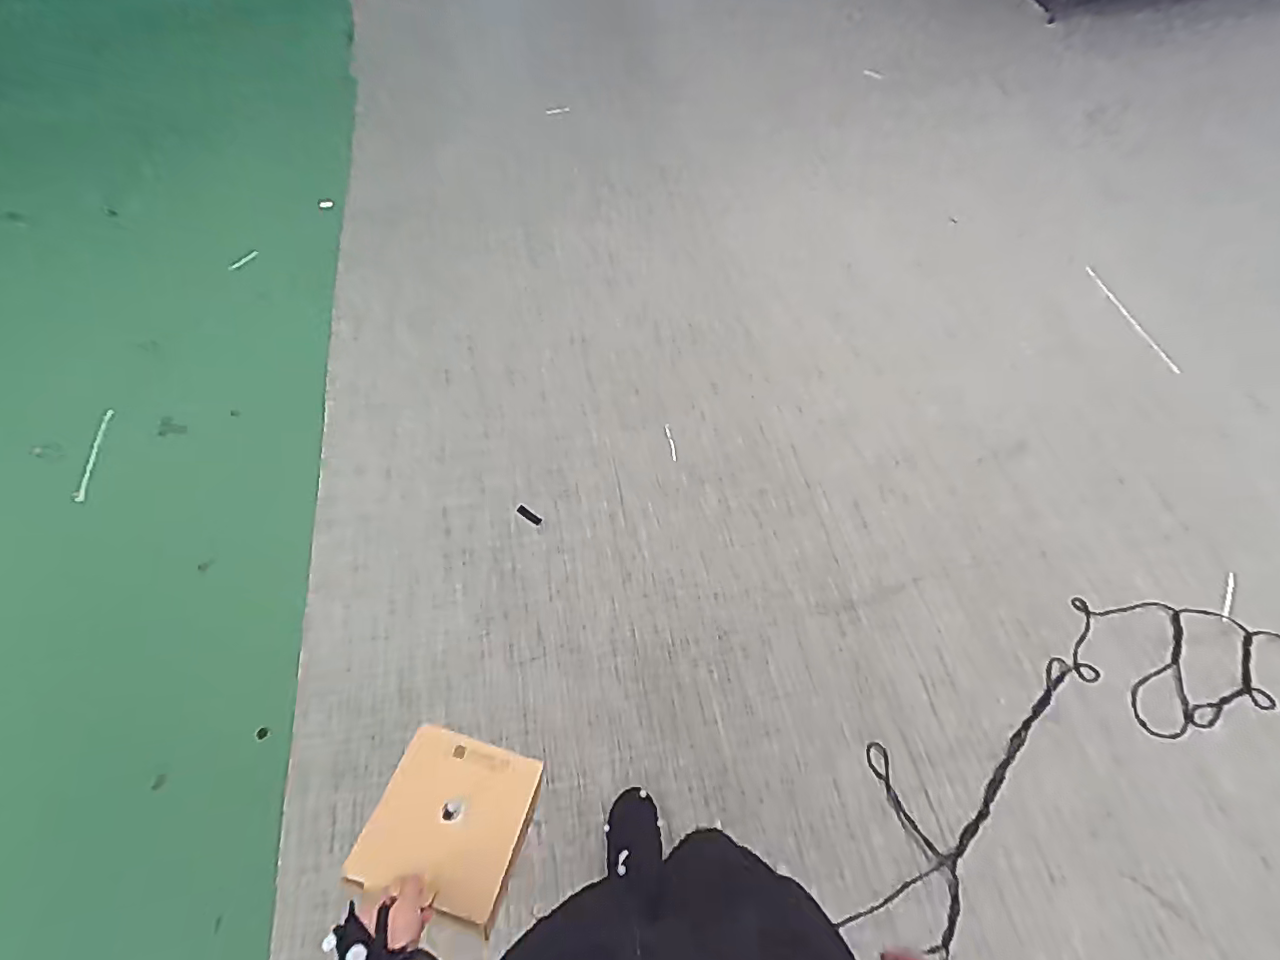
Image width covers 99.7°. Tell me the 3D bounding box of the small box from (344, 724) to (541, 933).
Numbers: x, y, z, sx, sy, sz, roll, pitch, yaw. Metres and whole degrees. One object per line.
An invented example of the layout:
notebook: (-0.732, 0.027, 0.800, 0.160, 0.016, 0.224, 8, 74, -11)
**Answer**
small box: (-0.232, 0.434, 0.679, 0.168, 0.179, 0.176, 18, 45, 1)
